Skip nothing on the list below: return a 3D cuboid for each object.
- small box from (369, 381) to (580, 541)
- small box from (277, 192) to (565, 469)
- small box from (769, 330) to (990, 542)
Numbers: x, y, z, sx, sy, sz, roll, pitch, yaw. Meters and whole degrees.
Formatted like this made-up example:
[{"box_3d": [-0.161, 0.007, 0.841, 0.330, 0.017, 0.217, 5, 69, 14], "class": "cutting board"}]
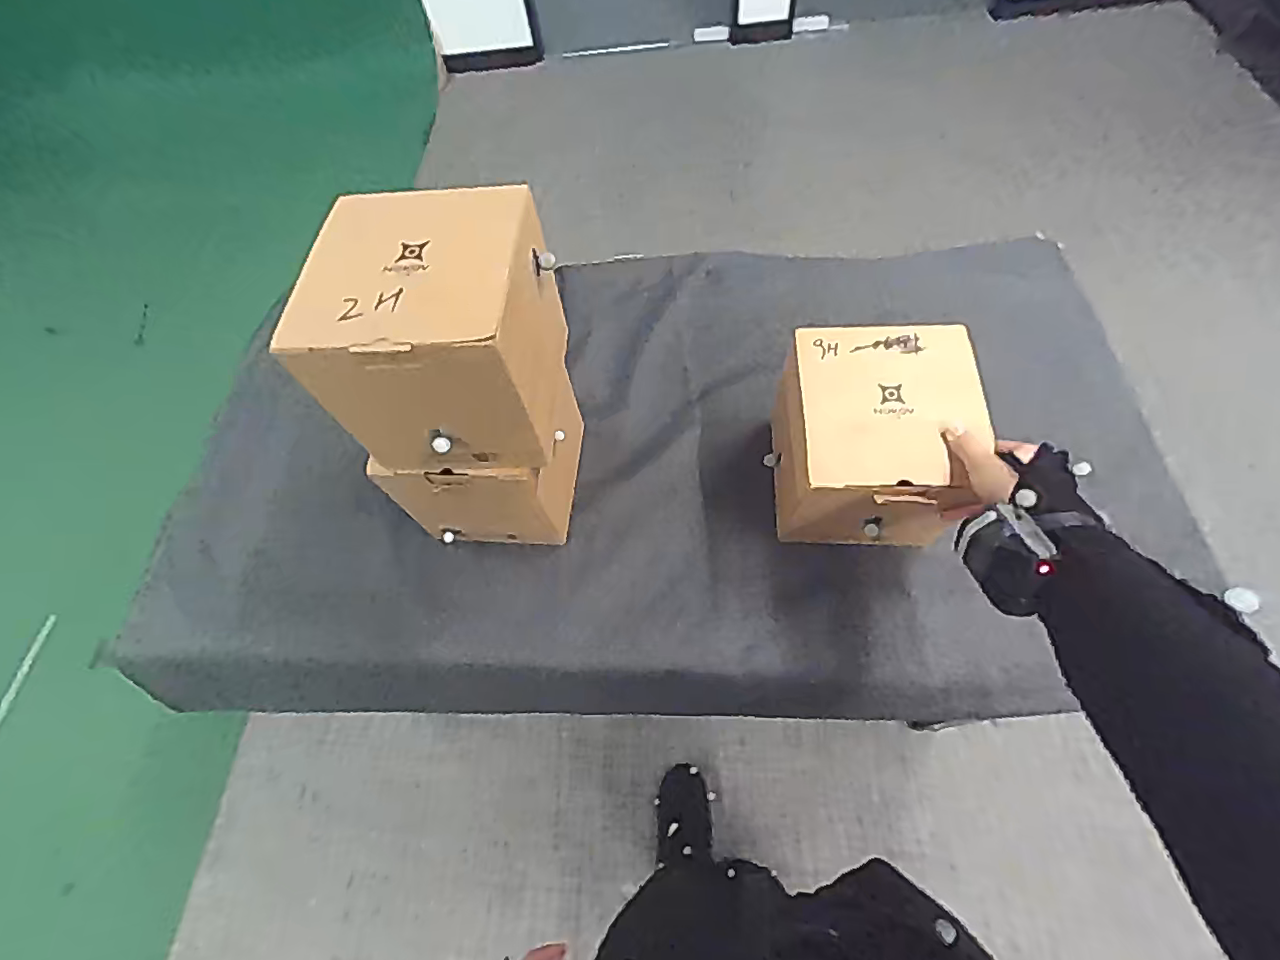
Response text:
[{"box_3d": [-0.171, -0.040, 0.628, 0.168, 0.176, 0.179, 2, 60, 6], "class": "small box"}, {"box_3d": [-0.169, -0.127, 0.487, 0.168, 0.176, 0.179, -1, 61, 6], "class": "small box"}, {"box_3d": [0.234, -0.038, 0.580, 0.168, 0.176, 0.179, 1, 66, 5], "class": "small box"}]
